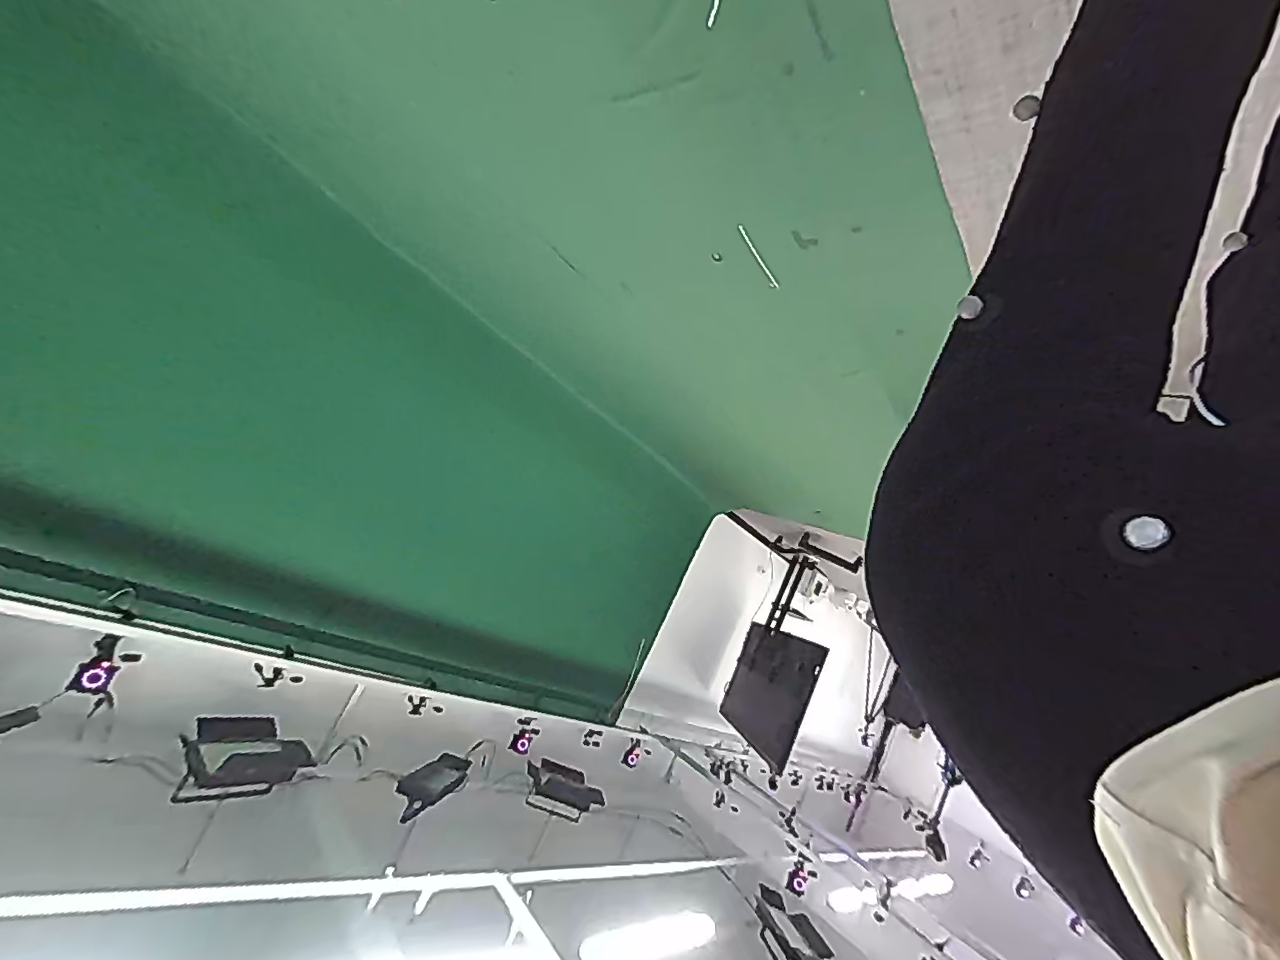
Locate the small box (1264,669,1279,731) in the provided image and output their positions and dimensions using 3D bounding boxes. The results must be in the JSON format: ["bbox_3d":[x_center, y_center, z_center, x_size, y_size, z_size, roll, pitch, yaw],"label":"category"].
[{"bbox_3d":[1.686,0.580,1.336,0.179,0.176,0.168,33,168,-40],"label":"small box"}]
